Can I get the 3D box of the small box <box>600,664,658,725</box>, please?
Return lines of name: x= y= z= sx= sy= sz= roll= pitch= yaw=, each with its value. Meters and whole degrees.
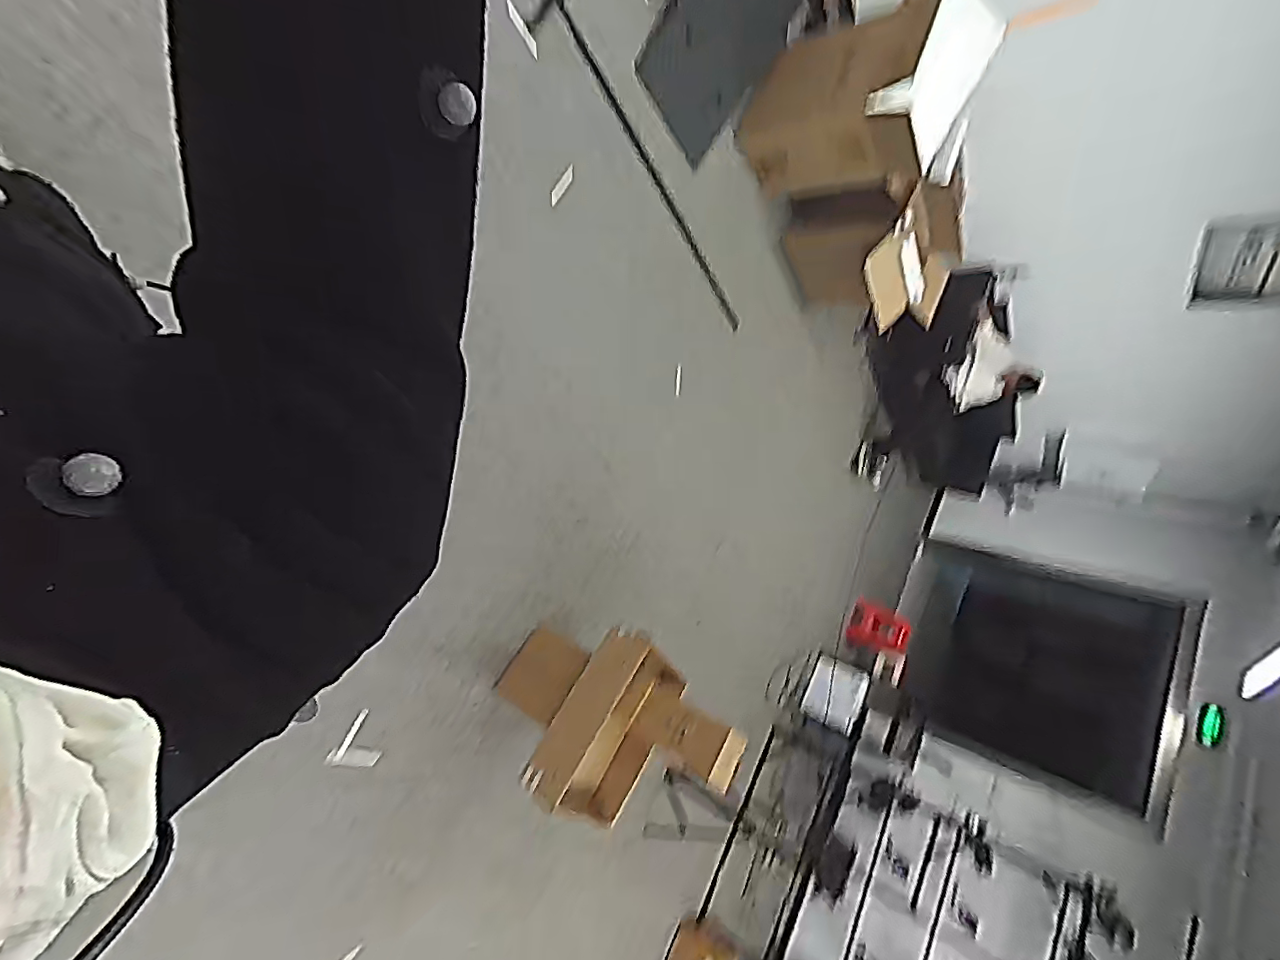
small box: x=-0.016 y=0.803 z=1.993 sx=0.168 sy=0.176 sz=0.179 roll=-56 pitch=137 yaw=-20

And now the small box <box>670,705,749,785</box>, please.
small box: x=0.230 y=0.873 z=1.788 sx=0.168 sy=0.176 sz=0.179 roll=-58 pitch=138 yaw=-20

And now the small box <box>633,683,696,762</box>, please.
small box: x=0.107 y=0.844 z=1.892 sx=0.179 sy=0.176 sz=0.168 roll=-55 pitch=136 yaw=-21
